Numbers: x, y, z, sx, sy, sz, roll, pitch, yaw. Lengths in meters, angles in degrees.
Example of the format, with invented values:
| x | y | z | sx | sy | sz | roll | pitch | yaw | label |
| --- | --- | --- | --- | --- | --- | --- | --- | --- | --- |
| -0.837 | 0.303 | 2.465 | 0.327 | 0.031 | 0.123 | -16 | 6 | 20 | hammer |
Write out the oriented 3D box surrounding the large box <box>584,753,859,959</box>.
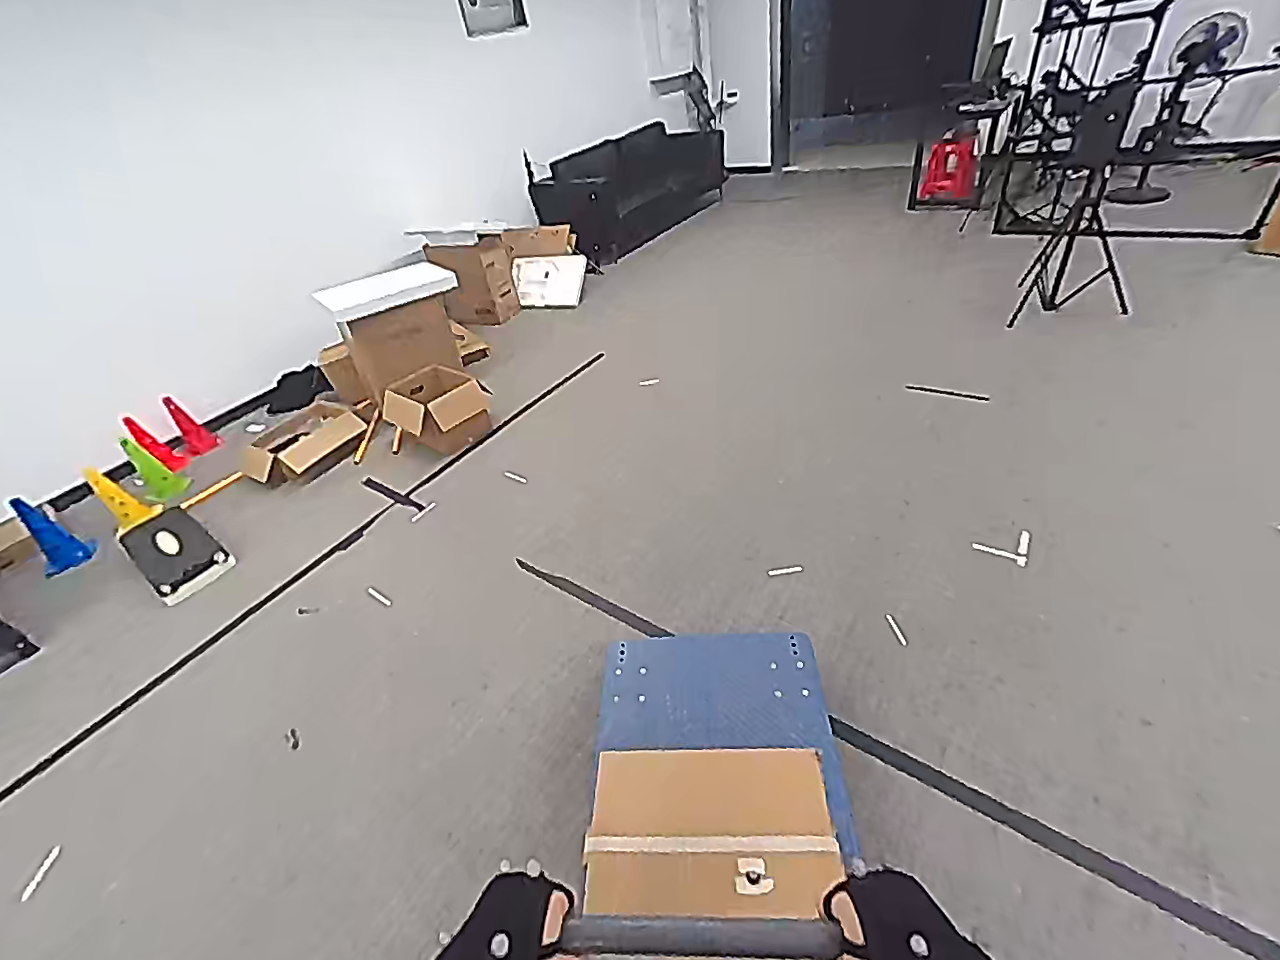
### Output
| x | y | z | sx | sy | sz | roll | pitch | yaw | label |
| --- | --- | --- | --- | --- | --- | --- | --- | --- | --- |
| 0.134 | 0.724 | 0.976 | 0.408 | 0.320 | 0.320 | -4 | 39 | 7 | large box |
